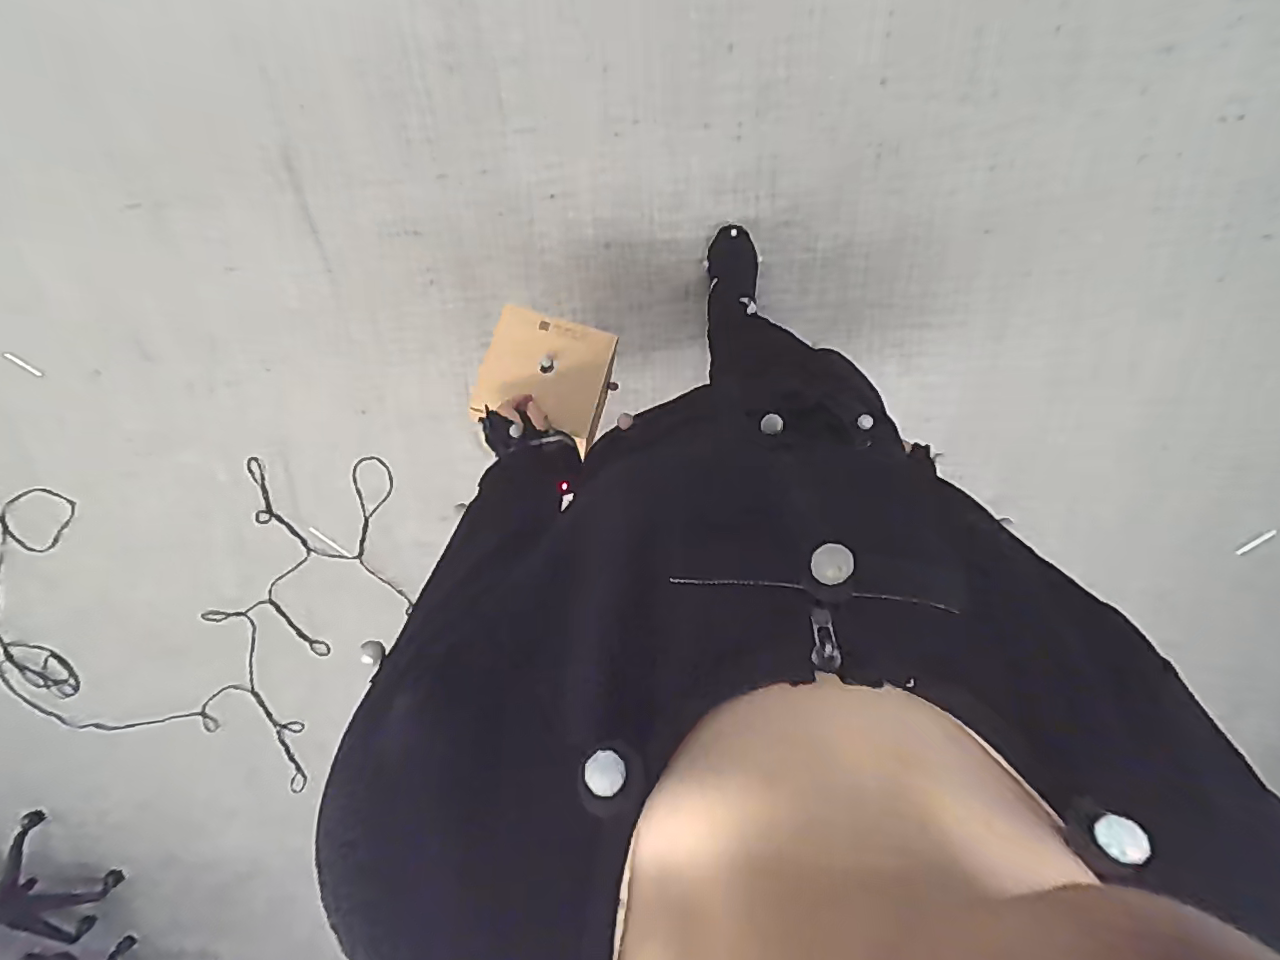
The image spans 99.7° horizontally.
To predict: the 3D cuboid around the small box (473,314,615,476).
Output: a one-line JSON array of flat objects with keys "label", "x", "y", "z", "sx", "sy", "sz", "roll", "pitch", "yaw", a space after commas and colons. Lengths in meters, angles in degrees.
[{"label": "small box", "x": -0.137, "y": -0.125, "z": 0.822, "sx": 0.168, "sy": 0.179, "sz": 0.176, "roll": 14, "pitch": 72, "yaw": -2}]
